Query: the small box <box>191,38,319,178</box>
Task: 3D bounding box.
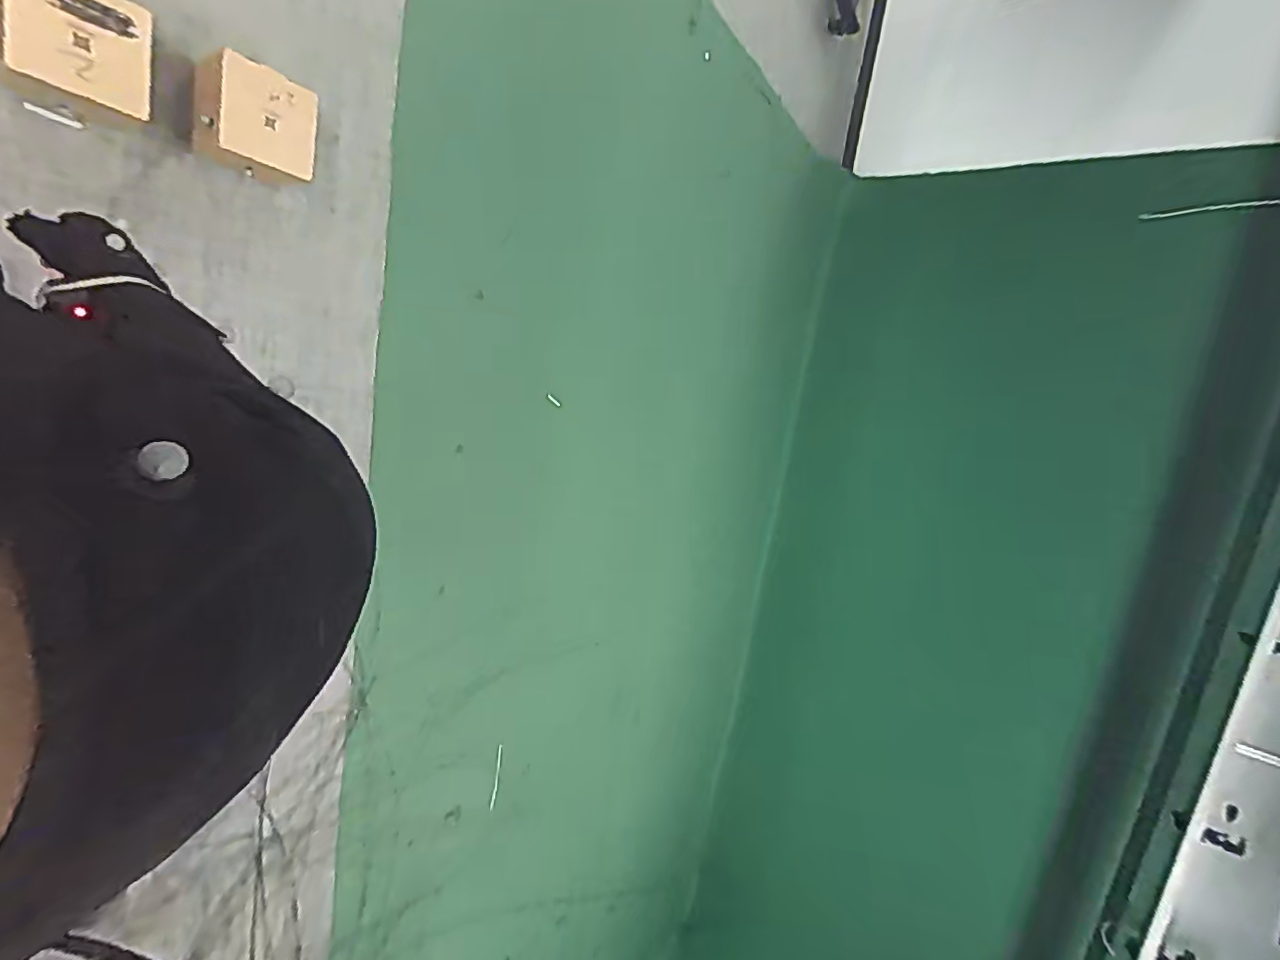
[{"bbox_3d":[-0.788,-0.741,1.104,0.168,0.176,0.179,-2,106,-55],"label":"small box"}]
